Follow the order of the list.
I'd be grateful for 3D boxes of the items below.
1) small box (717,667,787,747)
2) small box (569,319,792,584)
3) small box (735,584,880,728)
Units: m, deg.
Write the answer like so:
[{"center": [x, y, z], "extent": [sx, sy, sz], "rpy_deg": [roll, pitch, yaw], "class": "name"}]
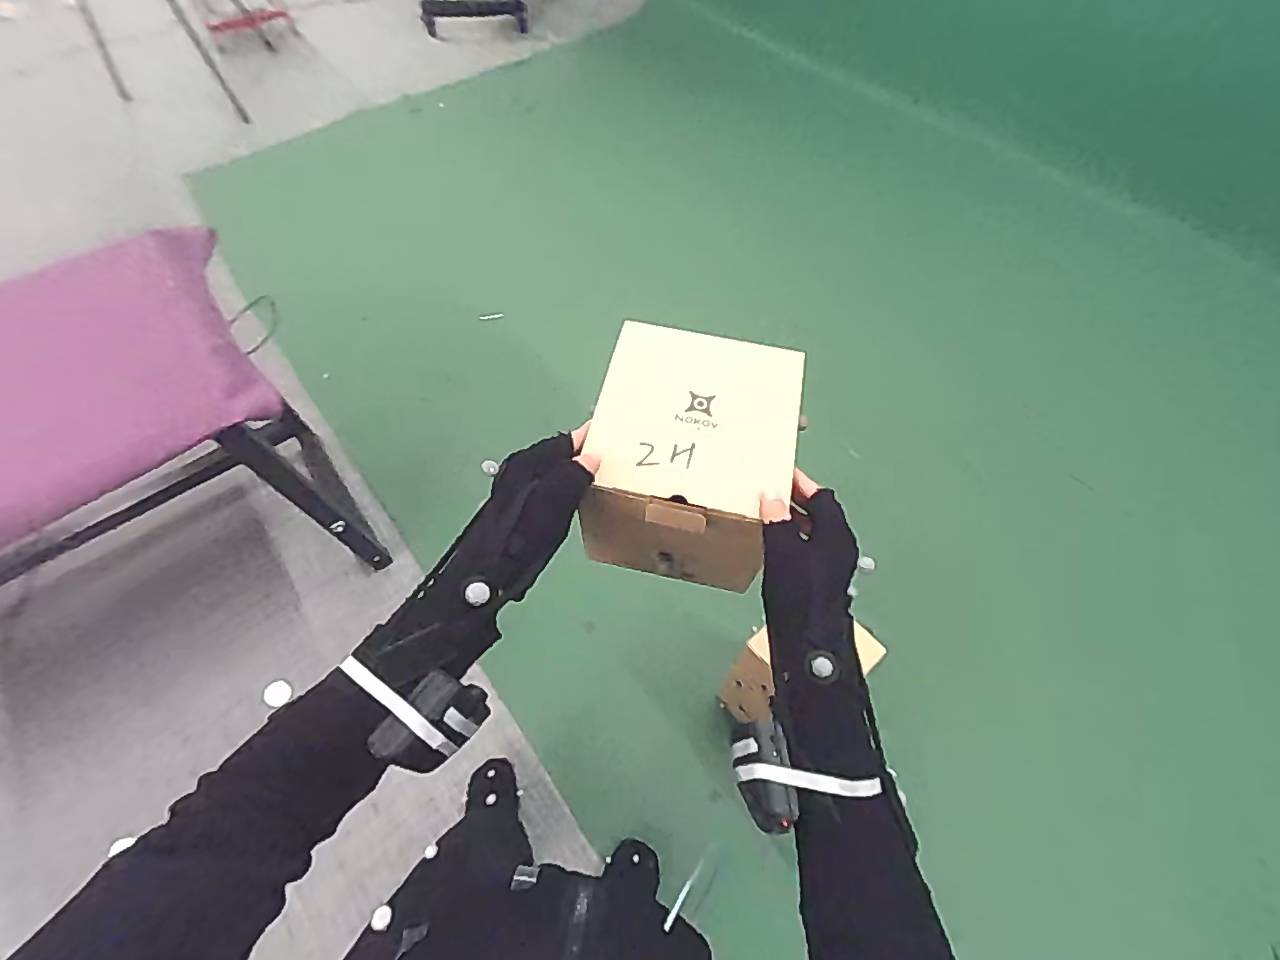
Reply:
[{"center": [0.296, 0.502, 1.275], "extent": [0.179, 0.176, 0.168], "rpy_deg": [-33, 65, -18], "class": "small box"}, {"center": [0.038, -0.020, 0.522], "extent": [0.168, 0.176, 0.179], "rpy_deg": [11, 62, 5], "class": "small box"}, {"center": [0.296, 0.328, 0.997], "extent": [0.179, 0.176, 0.168], "rpy_deg": [-36, 66, -19], "class": "small box"}]
